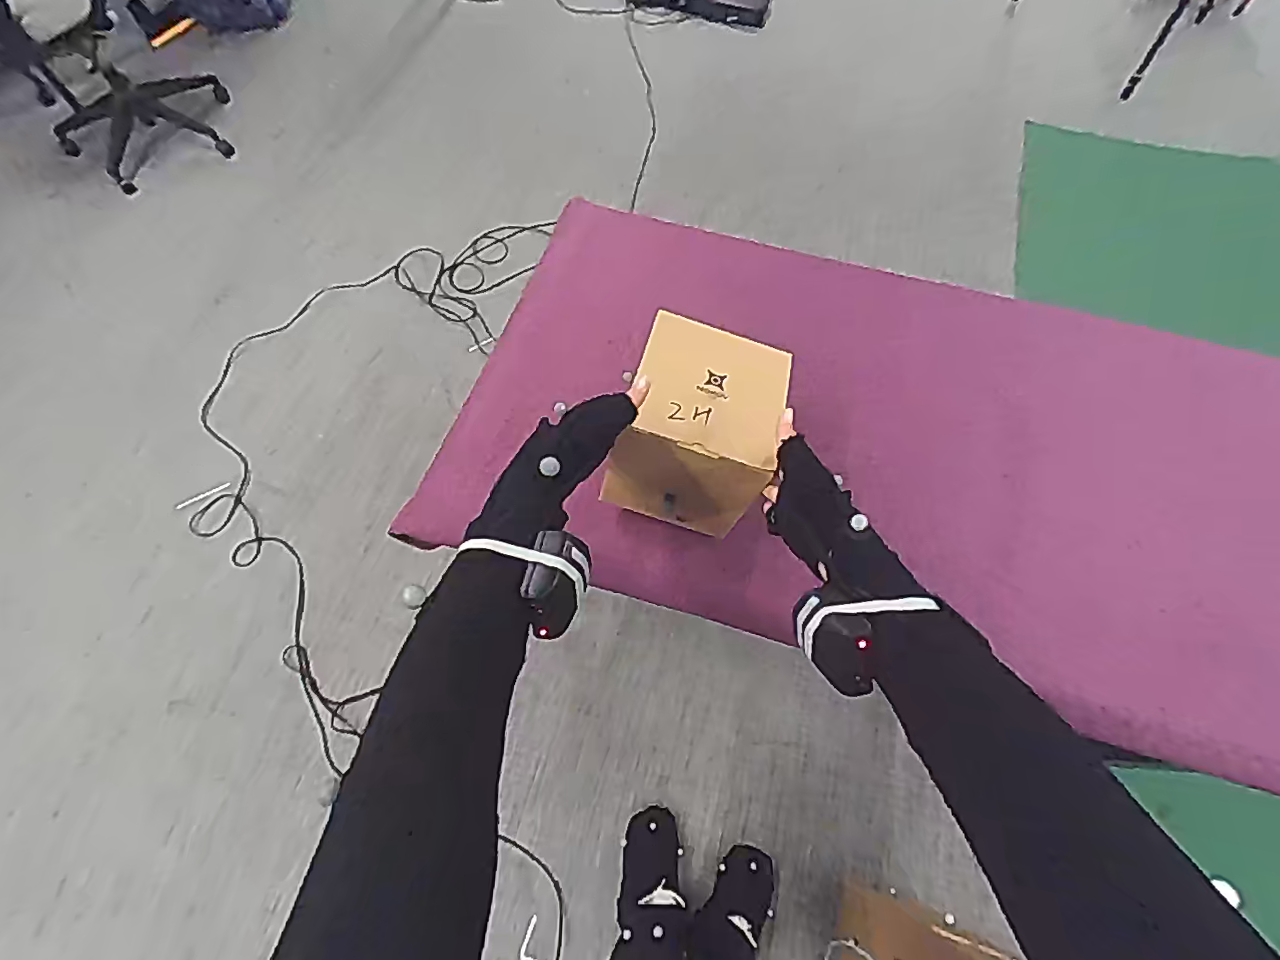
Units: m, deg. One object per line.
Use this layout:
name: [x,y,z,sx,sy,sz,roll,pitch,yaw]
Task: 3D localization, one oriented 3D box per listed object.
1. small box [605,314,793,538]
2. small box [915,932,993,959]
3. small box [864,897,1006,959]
small box: [0.065,-0.058,0.652,0.168,0.176,0.179,19,58,-3]
small box: [0.489,0.778,0.742,0.168,0.176,0.179,18,65,7]
small box: [0.486,0.839,0.893,0.168,0.176,0.179,19,65,7]
